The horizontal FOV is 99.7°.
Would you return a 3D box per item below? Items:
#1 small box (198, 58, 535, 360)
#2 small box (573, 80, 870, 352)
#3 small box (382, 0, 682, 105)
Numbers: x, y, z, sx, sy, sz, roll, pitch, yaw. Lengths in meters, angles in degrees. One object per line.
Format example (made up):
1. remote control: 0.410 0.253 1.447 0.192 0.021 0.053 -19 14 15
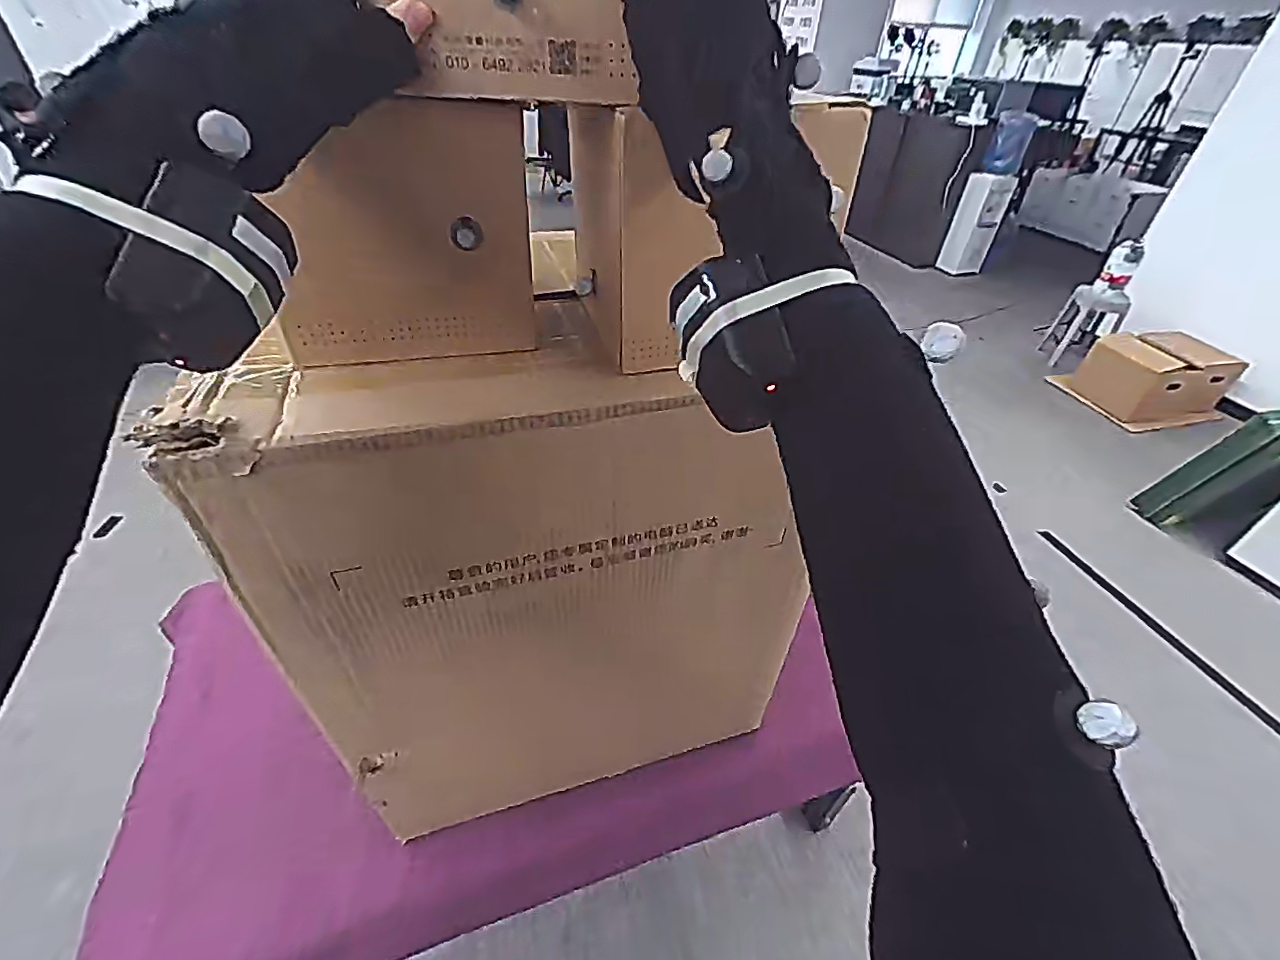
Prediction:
1. small box: -0.178 -0.206 0.413 0.179 0.176 0.168 -9 40 -16
2. small box: 0.045 -0.211 0.434 0.168 0.176 0.179 -9 40 -13
3. small box: -0.062 -0.335 0.322 0.168 0.176 0.179 -1 39 -5
